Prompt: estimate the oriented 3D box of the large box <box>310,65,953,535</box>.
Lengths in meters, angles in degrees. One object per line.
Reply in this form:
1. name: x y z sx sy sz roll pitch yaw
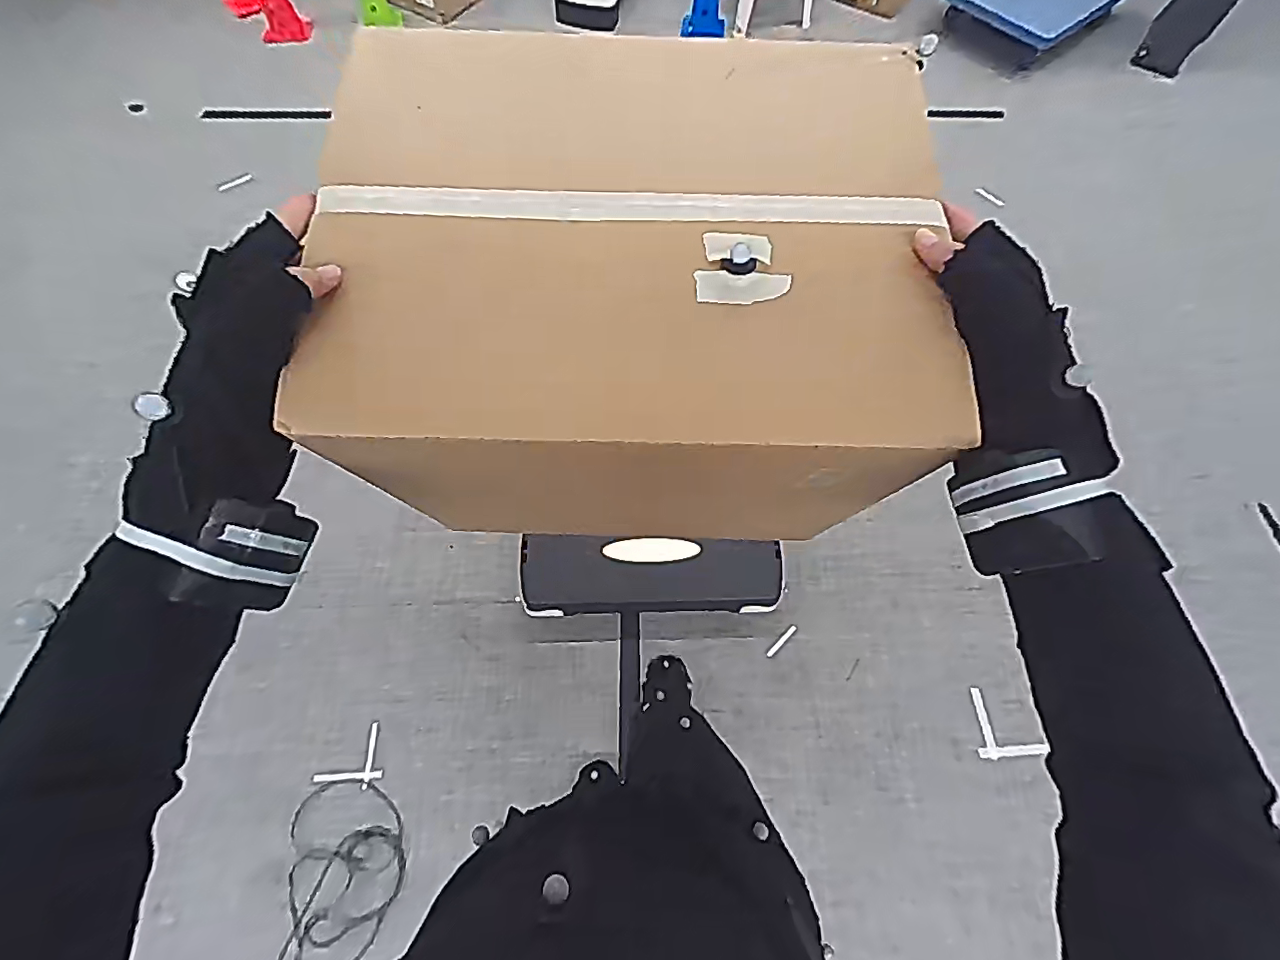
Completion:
1. large box: -0.007 -0.128 0.515 0.408 0.320 0.320 1 74 -1
